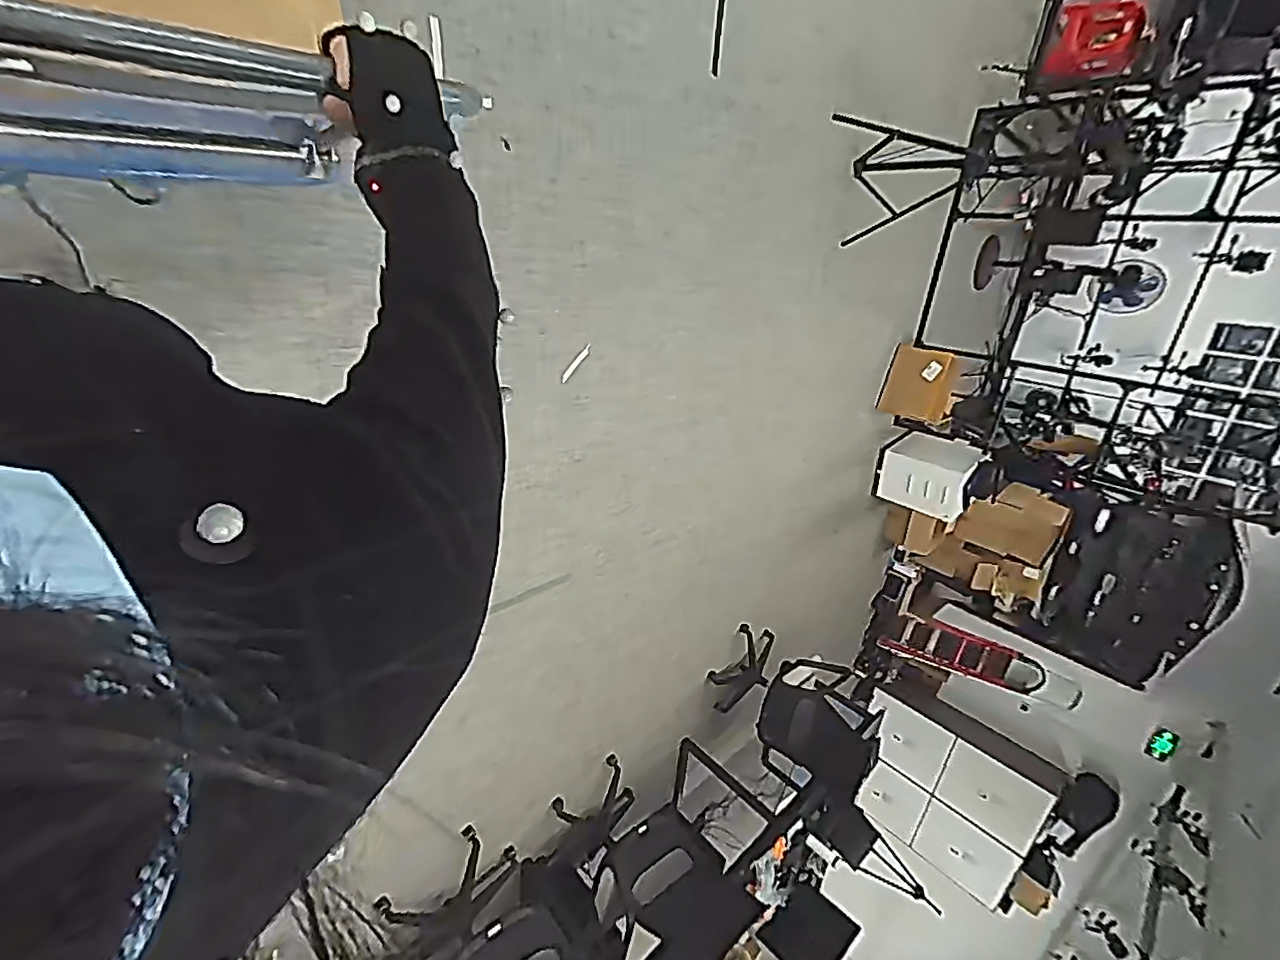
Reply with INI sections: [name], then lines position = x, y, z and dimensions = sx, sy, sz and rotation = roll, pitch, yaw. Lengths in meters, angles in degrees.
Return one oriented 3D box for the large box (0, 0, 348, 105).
[large box]
position = -0.690, -0.714, 0.720
dimensions = 0.408, 0.320, 0.320
rotation = -26, 127, -38
